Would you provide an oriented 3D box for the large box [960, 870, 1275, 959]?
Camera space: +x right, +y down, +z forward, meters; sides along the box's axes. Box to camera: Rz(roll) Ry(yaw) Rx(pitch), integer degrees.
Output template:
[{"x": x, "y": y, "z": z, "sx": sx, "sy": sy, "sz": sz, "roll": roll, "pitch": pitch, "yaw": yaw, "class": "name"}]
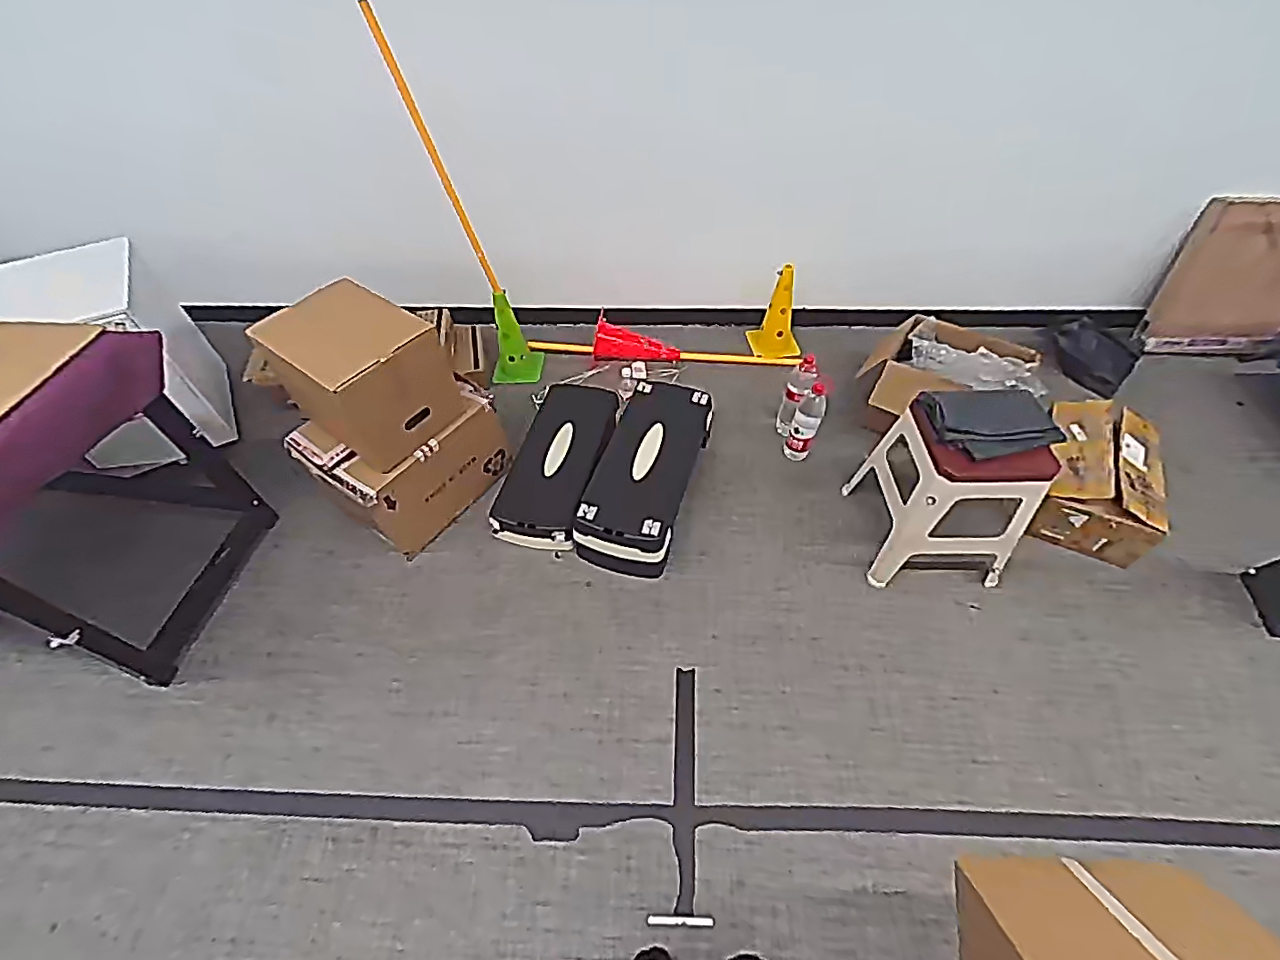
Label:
[{"x": 0.599, "y": 0.718, "z": 0.582, "sx": 0.320, "sy": 0.408, "sz": 0.320, "roll": -2, "pitch": 86, "yaw": 8, "class": "large box"}]
